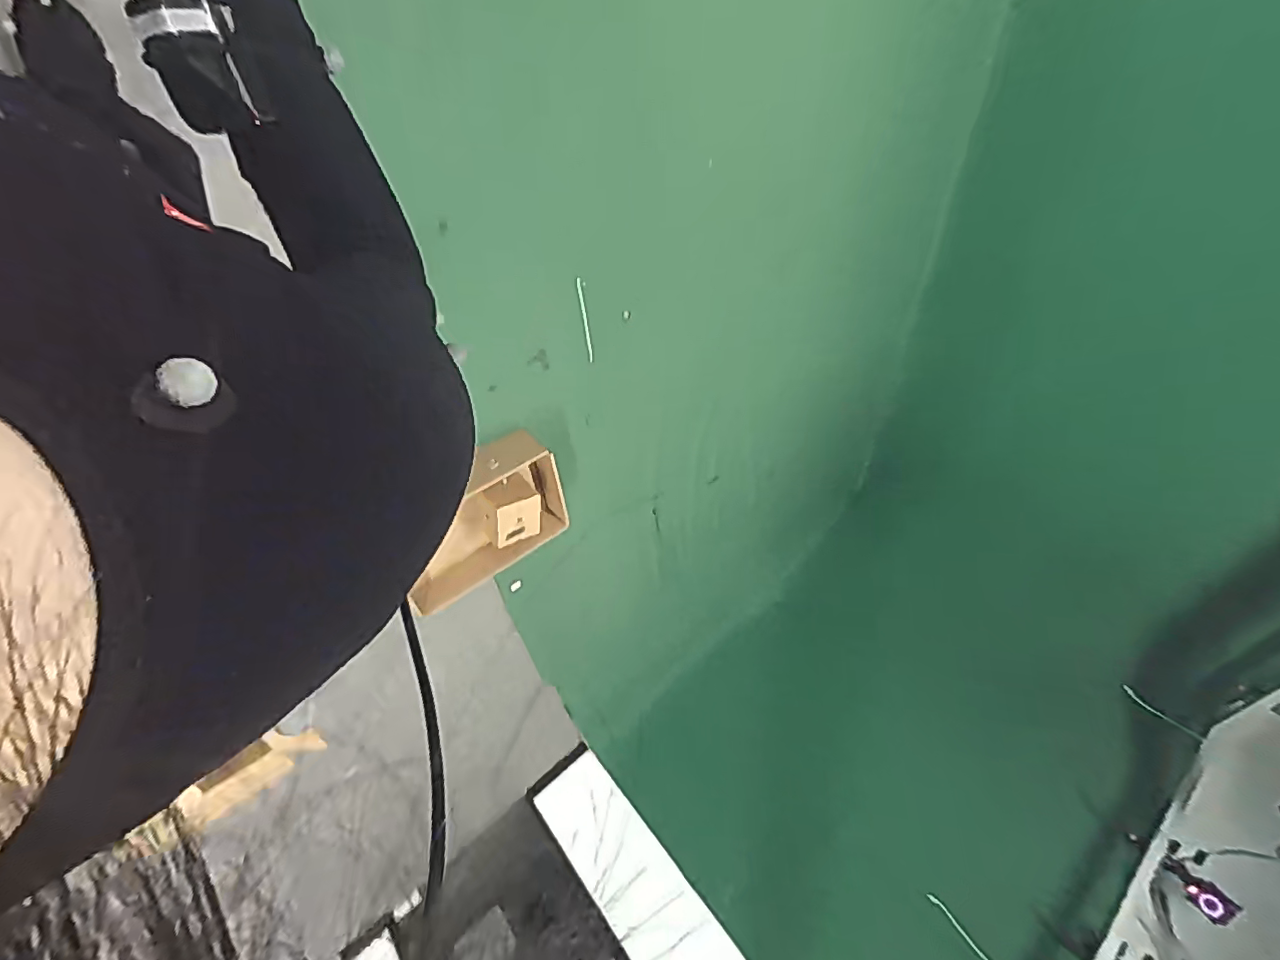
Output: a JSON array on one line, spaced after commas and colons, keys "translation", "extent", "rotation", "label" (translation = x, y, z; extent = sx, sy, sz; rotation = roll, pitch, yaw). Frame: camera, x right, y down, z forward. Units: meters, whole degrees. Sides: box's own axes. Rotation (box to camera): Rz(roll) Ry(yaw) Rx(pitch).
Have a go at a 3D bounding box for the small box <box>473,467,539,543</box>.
[{"translation": [-0.472, 0.084, 1.891], "extent": [0.168, 0.176, 0.179], "rotation": [-21, 135, -35], "label": "small box"}]
